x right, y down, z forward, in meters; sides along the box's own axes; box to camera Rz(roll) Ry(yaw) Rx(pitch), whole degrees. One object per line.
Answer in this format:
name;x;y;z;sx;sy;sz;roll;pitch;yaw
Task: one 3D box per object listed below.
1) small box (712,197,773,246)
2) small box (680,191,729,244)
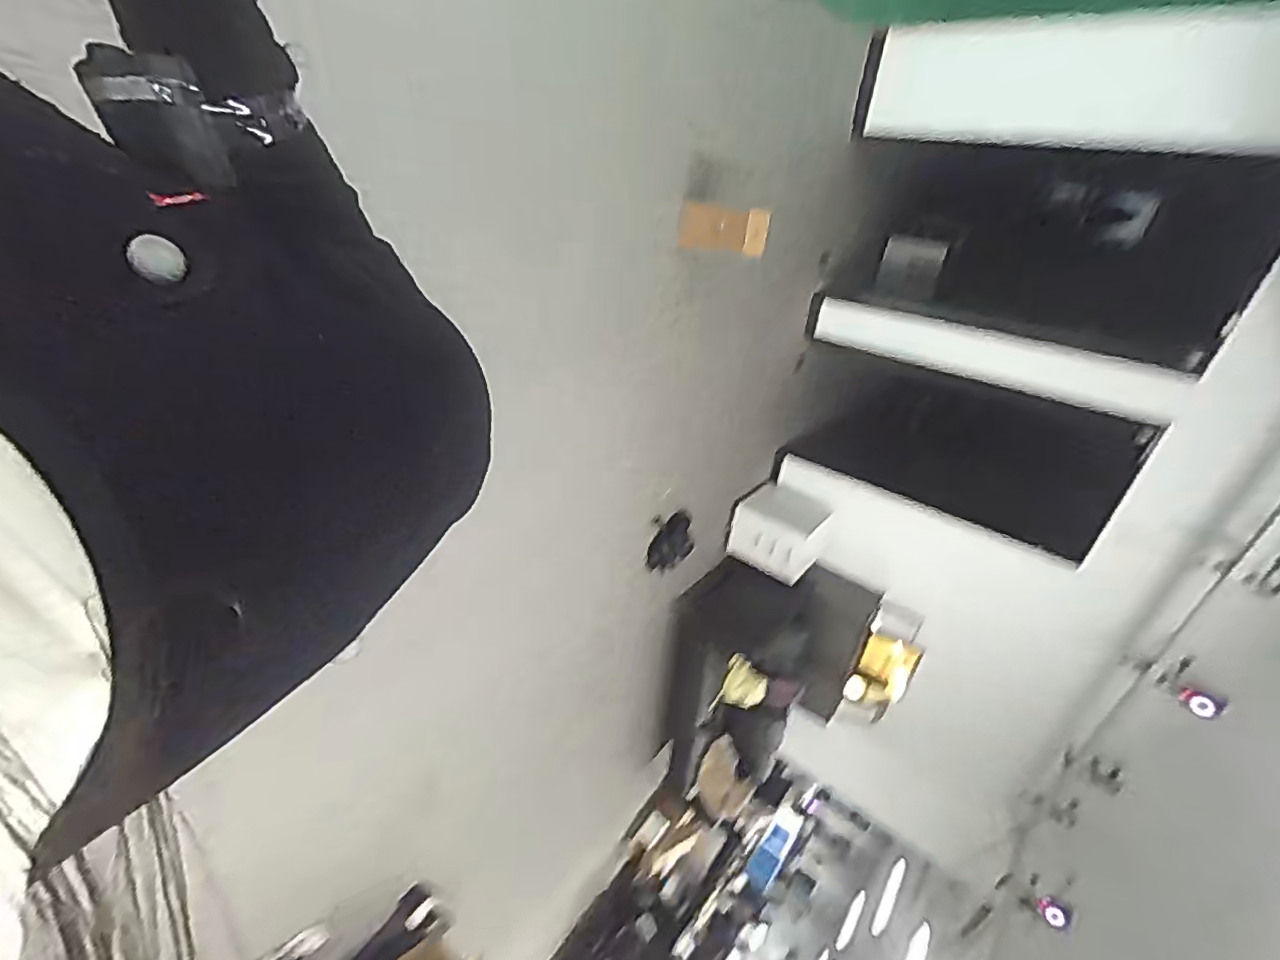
small box;0.417;-1.056;2.209;0.179;0.176;0.168;-25;129;-45
small box;0.287;-1.112;2.290;0.168;0.176;0.179;-25;131;-47
